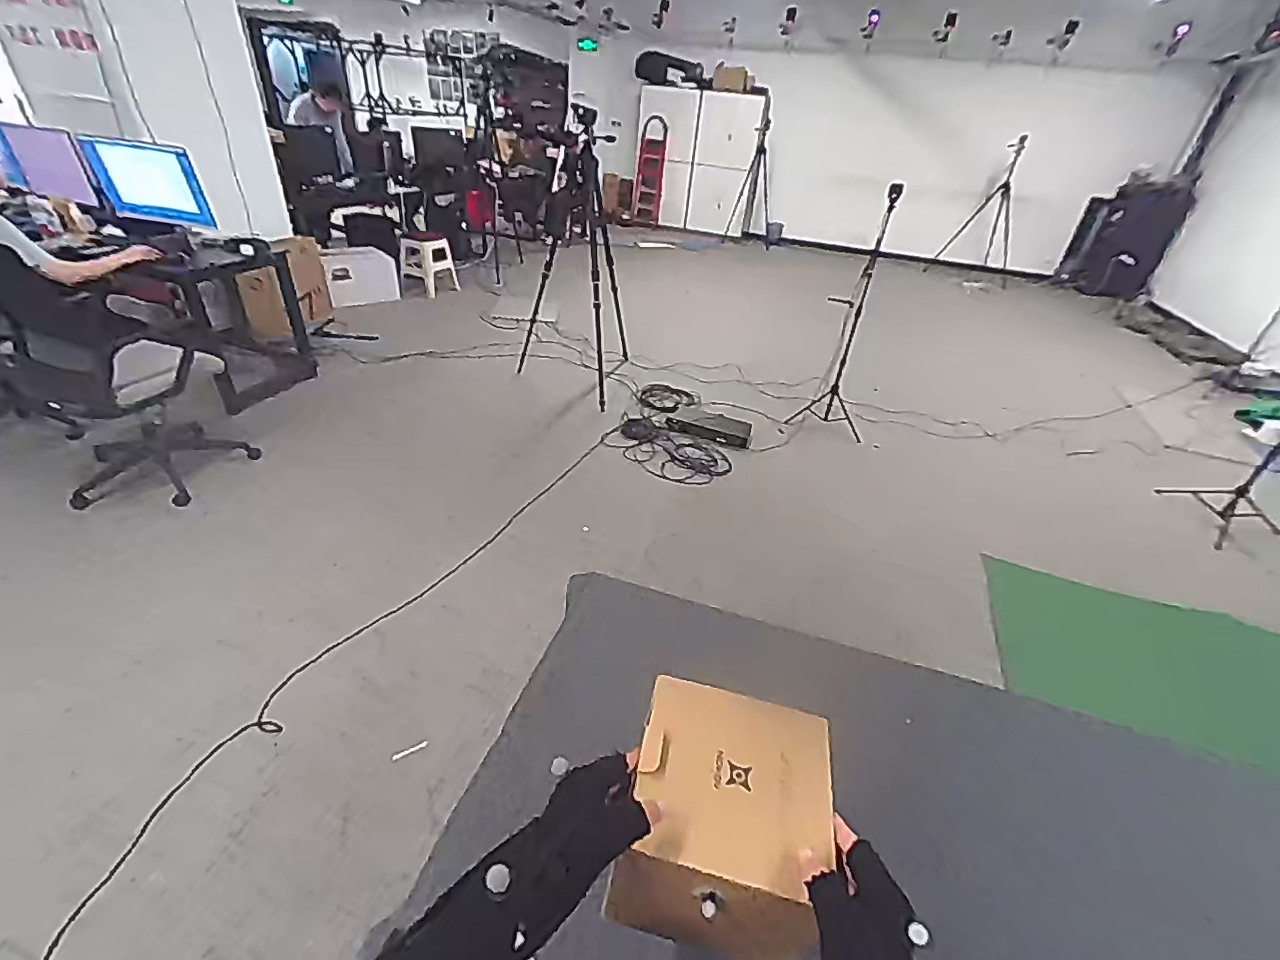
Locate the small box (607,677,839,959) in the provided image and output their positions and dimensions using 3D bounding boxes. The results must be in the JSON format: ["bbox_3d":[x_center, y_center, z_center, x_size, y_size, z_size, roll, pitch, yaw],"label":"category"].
[{"bbox_3d":[0.074,0.330,0.528,0.179,0.176,0.168,14,36,5],"label":"small box"}]
